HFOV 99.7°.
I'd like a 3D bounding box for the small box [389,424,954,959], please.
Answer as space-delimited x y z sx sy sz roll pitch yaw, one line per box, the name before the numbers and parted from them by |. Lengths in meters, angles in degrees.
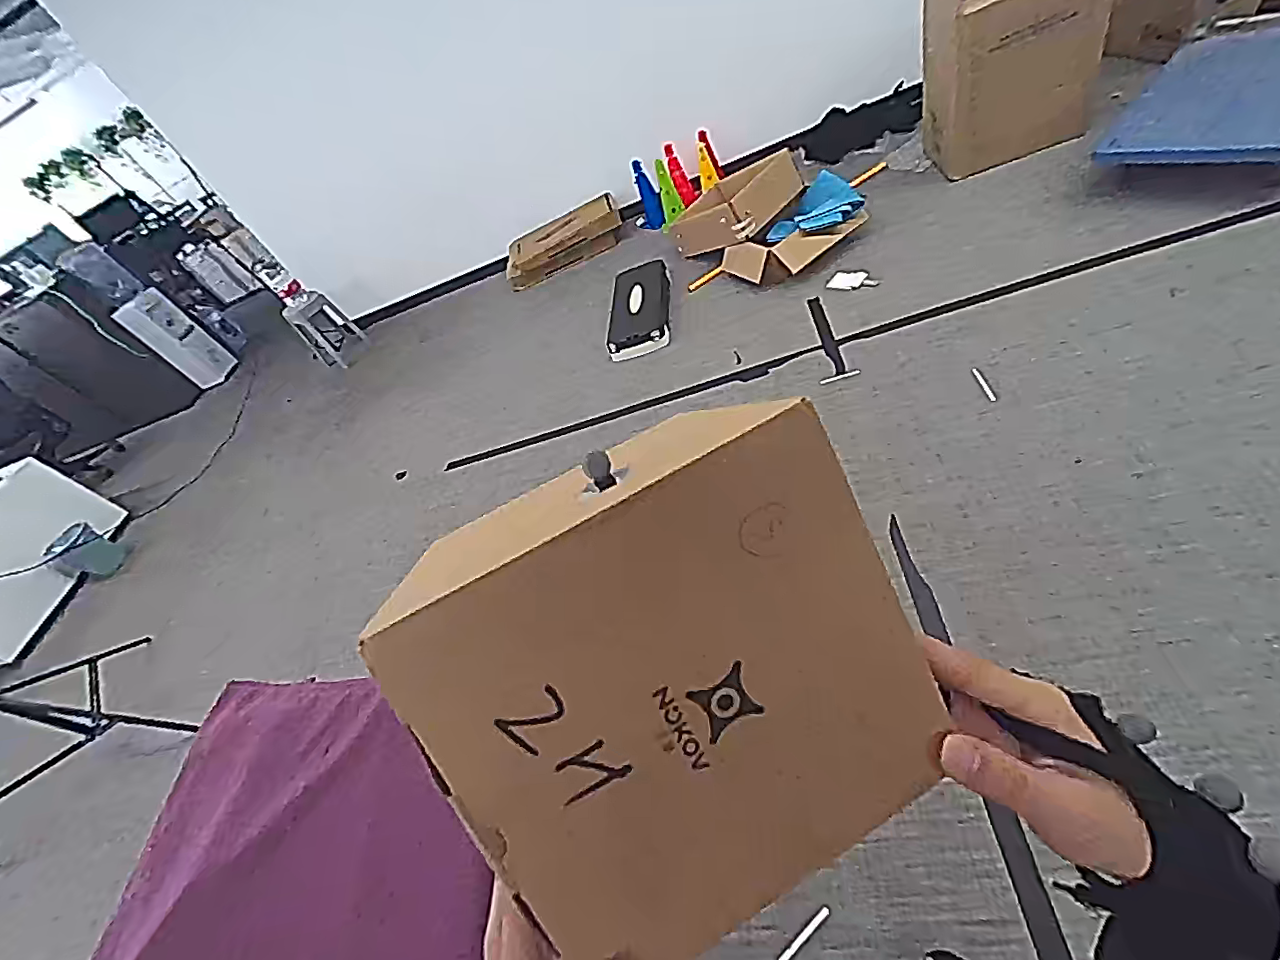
small box | 0.008 0.080 0.281 0.179 0.168 0.176 -28 9 -8
